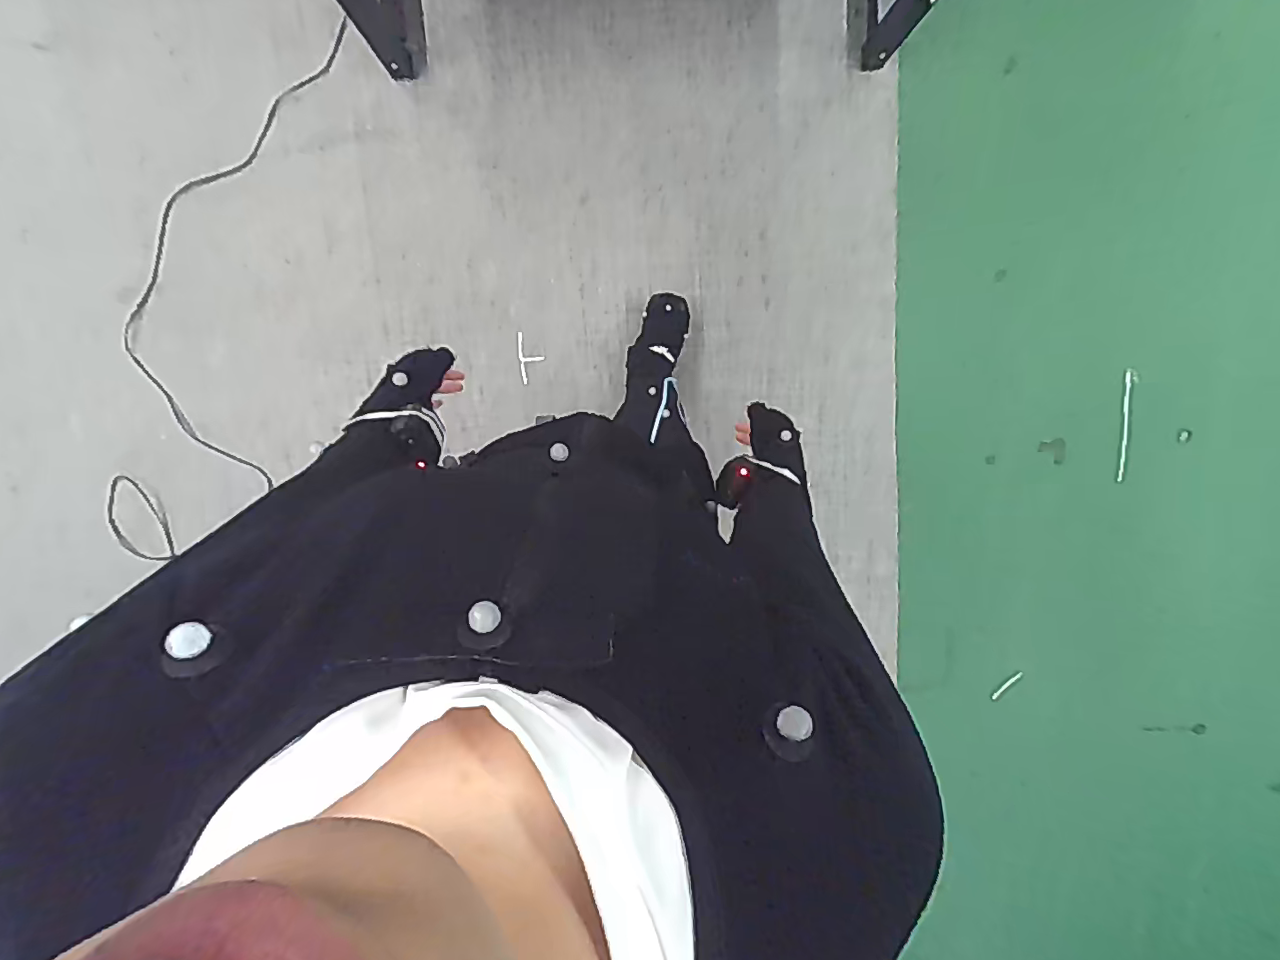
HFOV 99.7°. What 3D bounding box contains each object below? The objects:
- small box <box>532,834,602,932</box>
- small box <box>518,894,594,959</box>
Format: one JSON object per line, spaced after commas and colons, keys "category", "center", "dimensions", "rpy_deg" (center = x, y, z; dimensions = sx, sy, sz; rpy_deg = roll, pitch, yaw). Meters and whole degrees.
{"category": "small box", "center": [-0.204, 1.144, 1.532], "dimensions": [0.168, 0.176, 0.179], "rpy_deg": [-11, 101, -3]}
{"category": "small box", "center": [-0.206, 1.179, 1.353], "dimensions": [0.168, 0.176, 0.179], "rpy_deg": [-6, 100, -3]}
